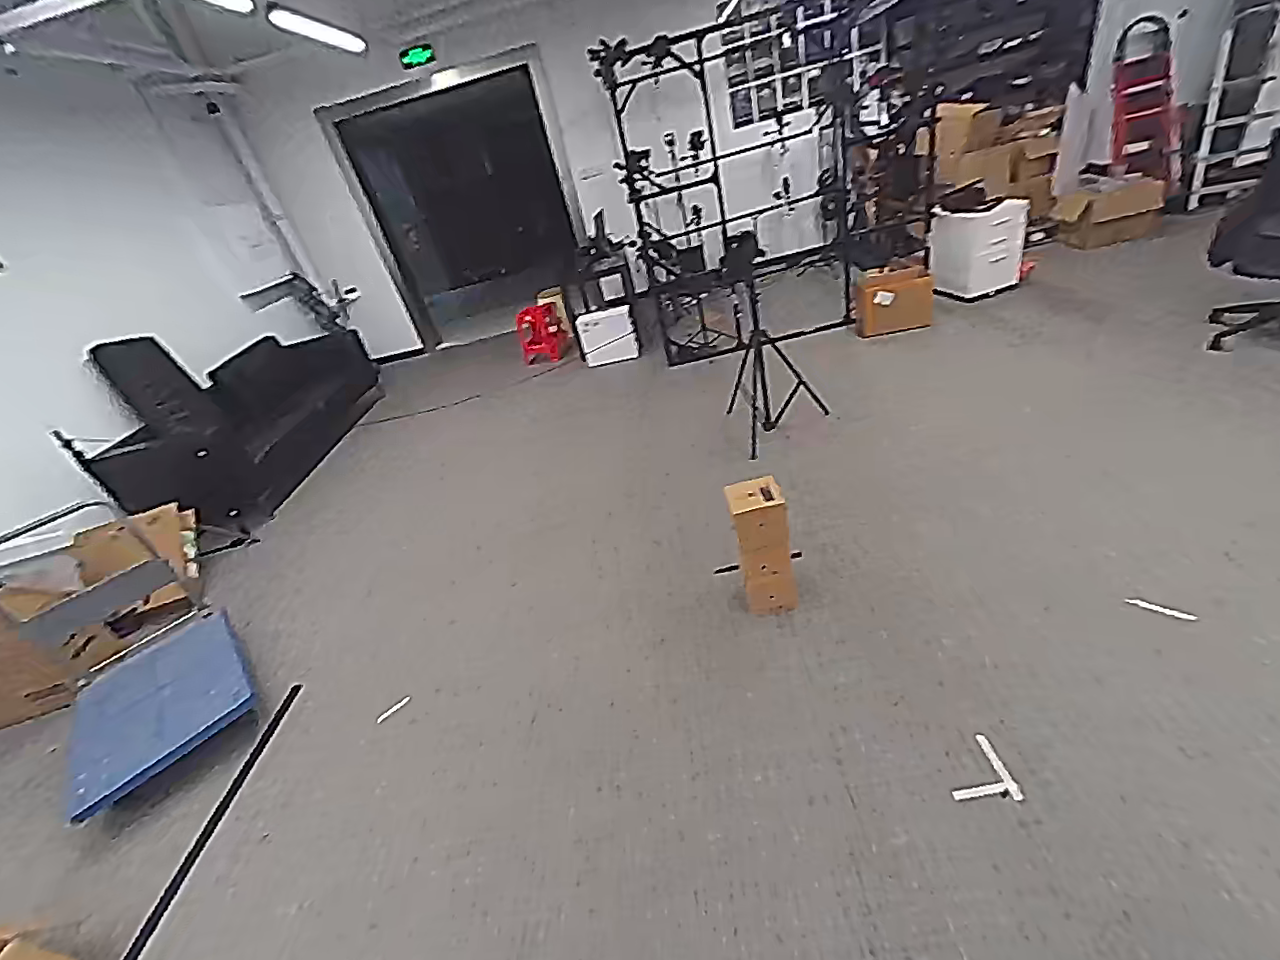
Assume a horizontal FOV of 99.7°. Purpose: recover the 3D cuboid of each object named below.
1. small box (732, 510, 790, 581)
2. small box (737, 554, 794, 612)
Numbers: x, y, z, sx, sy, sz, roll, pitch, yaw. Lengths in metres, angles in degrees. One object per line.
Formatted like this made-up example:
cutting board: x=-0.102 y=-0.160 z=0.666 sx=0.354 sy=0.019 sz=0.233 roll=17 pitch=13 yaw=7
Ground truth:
small box: x=0.437 y=0.238 z=1.958 sx=0.168 sy=0.176 sz=0.179 roll=-12 pitch=32 yaw=6
small box: x=0.472 y=0.378 z=2.035 sx=0.168 sy=0.176 sz=0.179 roll=-13 pitch=31 yaw=4
